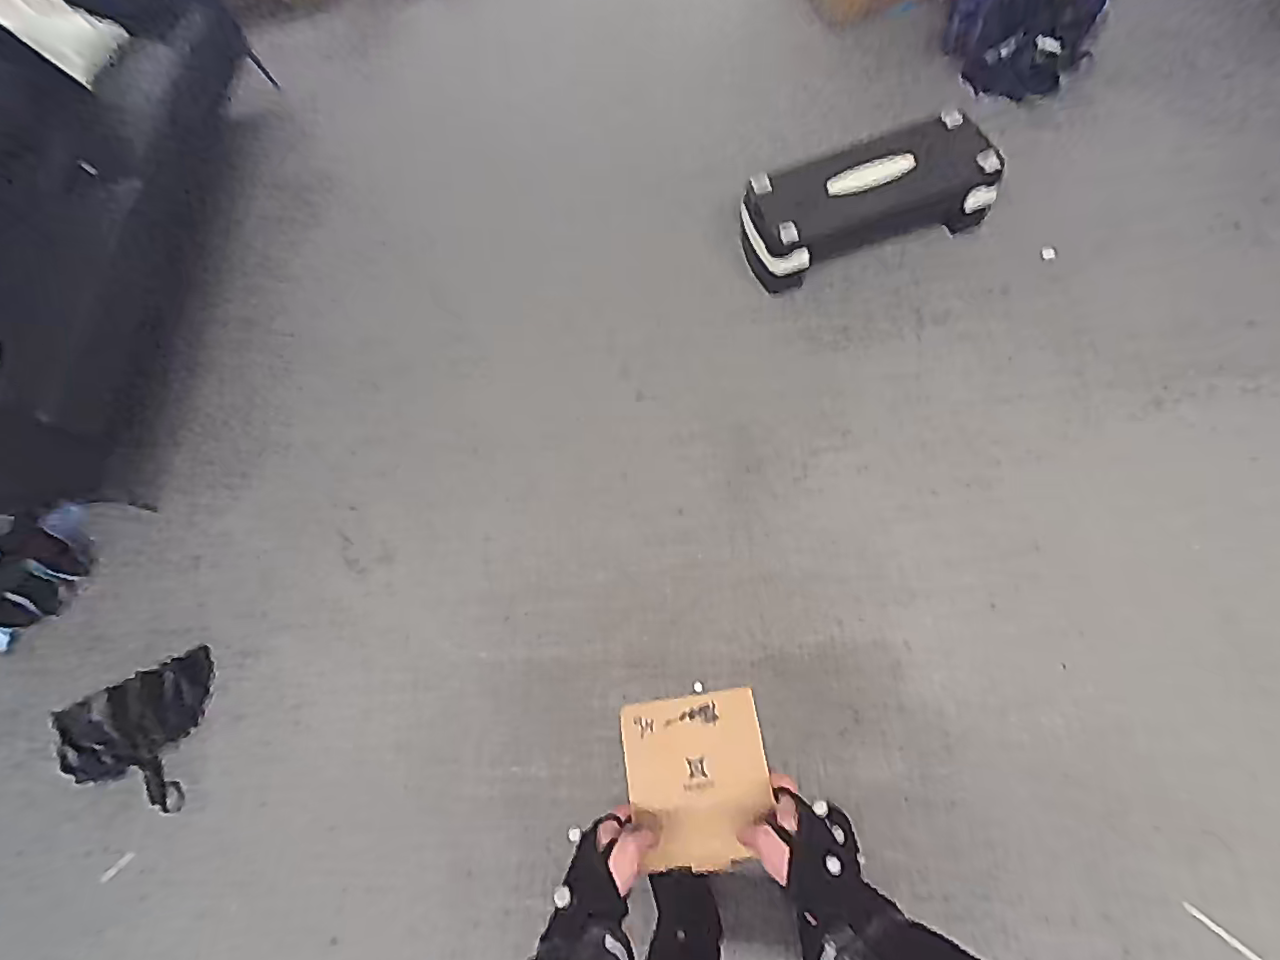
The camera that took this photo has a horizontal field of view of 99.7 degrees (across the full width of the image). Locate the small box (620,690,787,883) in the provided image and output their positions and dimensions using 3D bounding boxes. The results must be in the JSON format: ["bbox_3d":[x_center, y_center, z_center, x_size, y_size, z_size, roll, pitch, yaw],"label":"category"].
[{"bbox_3d":[0.080,0.370,0.683,0.168,0.176,0.179,-11,68,5],"label":"small box"}]
